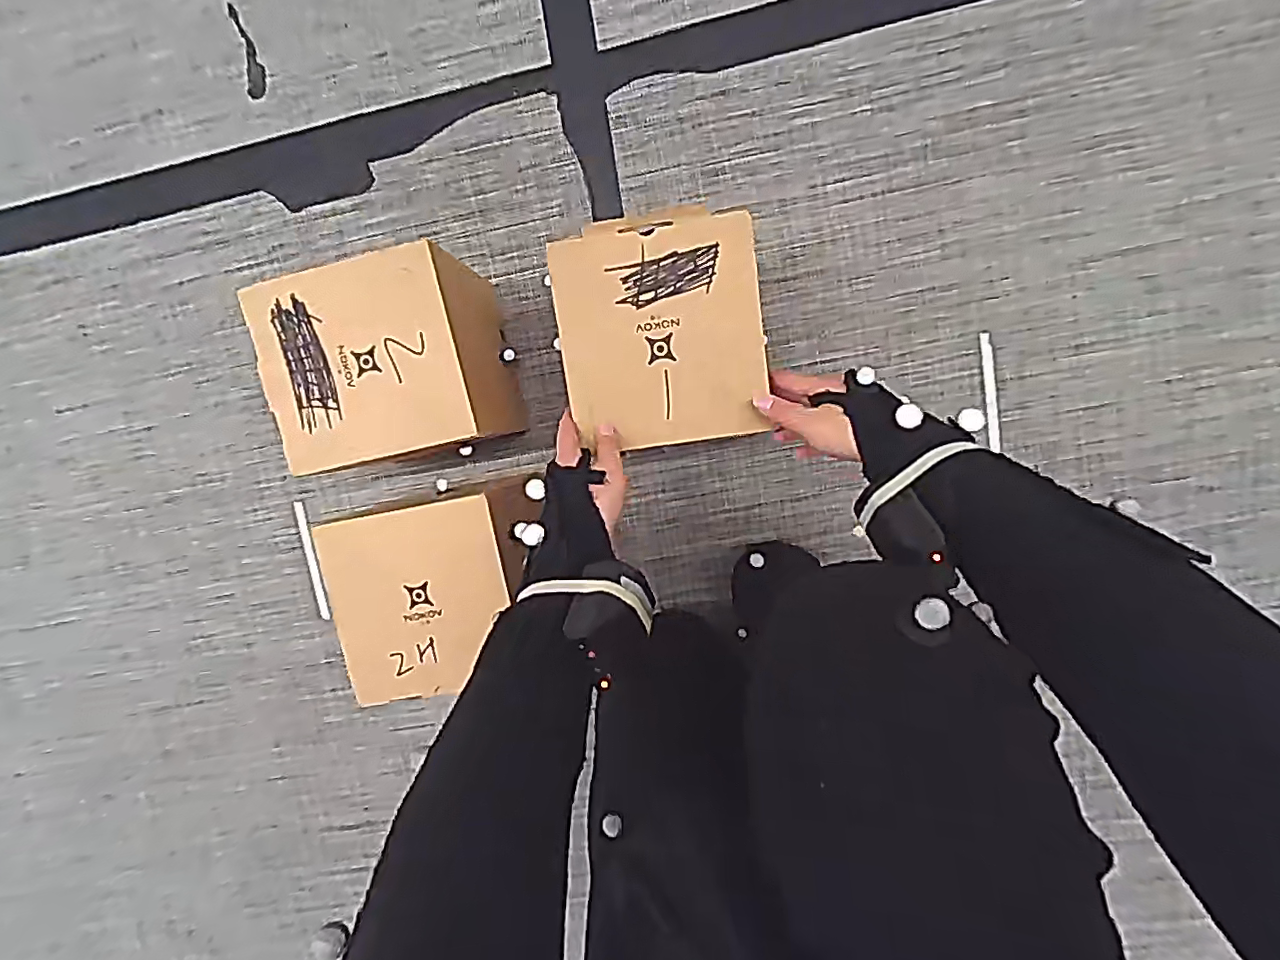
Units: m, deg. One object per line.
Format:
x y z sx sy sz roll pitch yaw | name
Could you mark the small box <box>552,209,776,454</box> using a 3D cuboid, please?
0.024 -0.125 0.512 0.168 0.176 0.179 -8 98 5 | small box
